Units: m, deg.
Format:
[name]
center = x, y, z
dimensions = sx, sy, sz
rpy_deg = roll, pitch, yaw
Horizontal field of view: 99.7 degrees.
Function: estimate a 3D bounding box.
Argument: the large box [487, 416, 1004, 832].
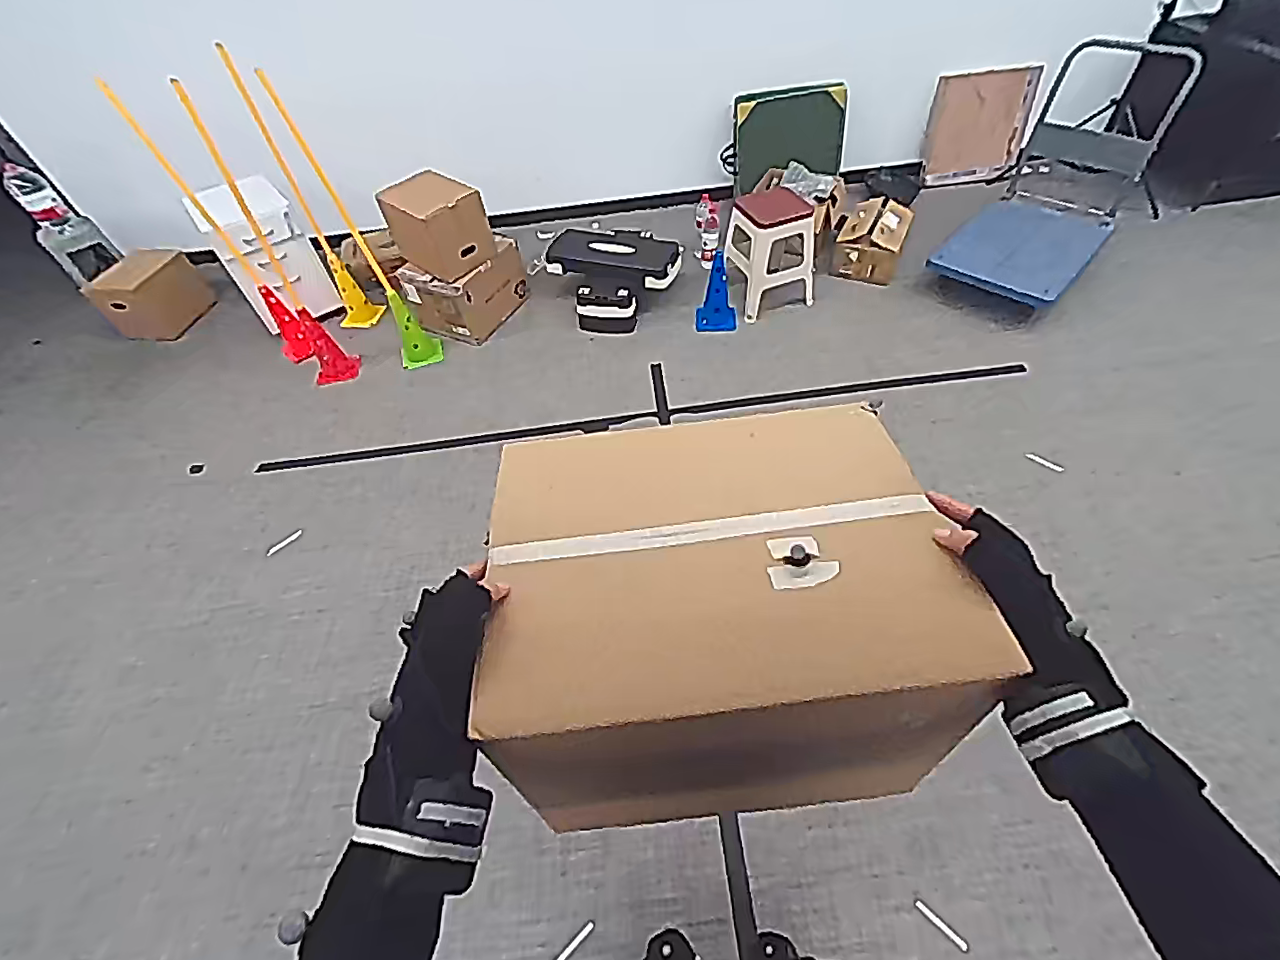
[large box]
center = 0.076, 0.163, 0.612
dimensions = 0.408, 0.320, 0.320
rpy_deg = -7, 46, 0
